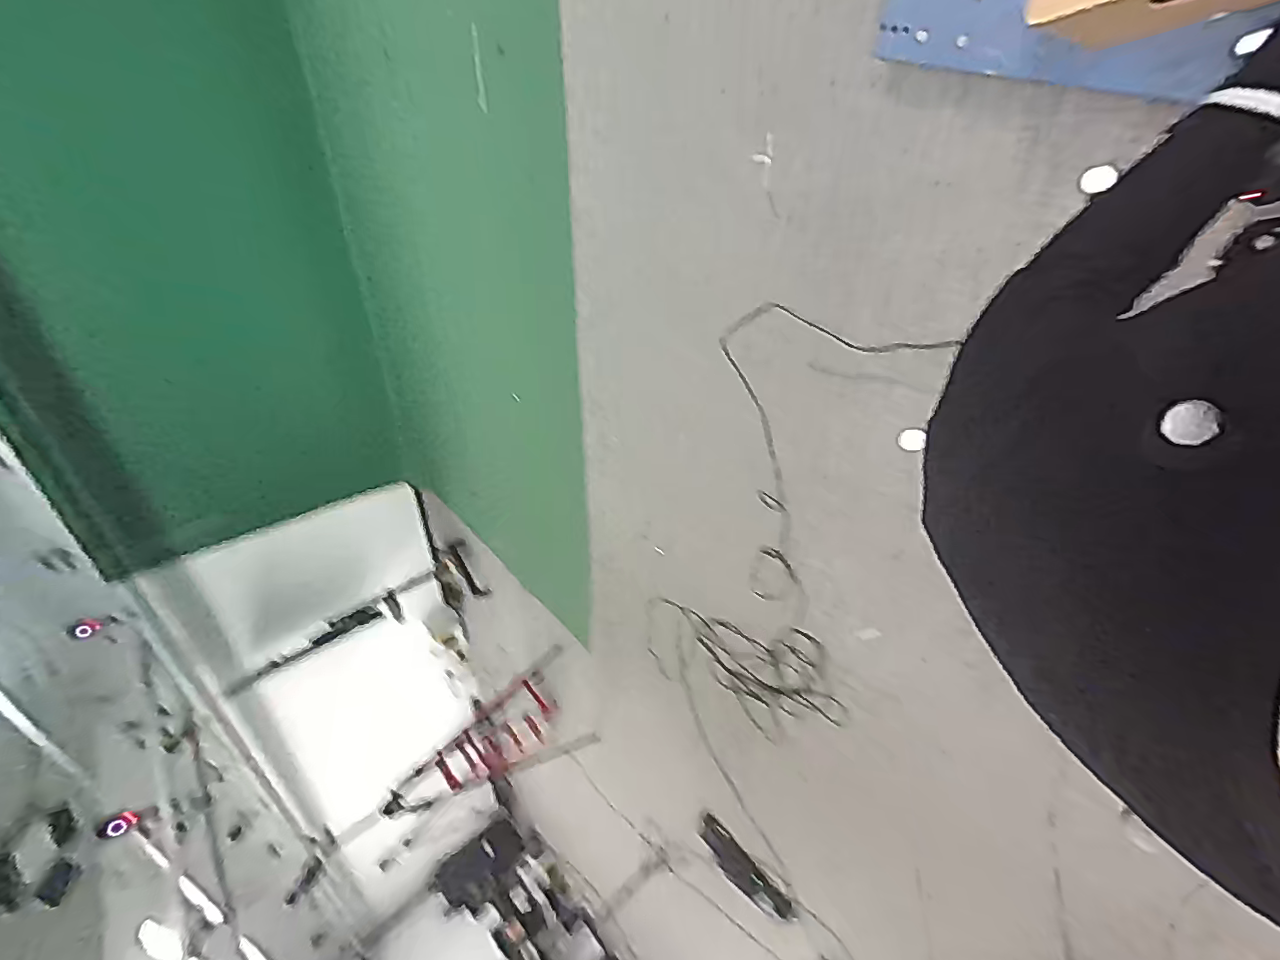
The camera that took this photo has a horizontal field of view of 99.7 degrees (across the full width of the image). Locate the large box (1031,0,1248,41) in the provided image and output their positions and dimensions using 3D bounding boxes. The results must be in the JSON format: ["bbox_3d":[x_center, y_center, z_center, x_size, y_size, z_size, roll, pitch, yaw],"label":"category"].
[{"bbox_3d":[0.702,-0.806,0.613,0.320,0.320,0.408,20,126,45],"label":"large box"}]
